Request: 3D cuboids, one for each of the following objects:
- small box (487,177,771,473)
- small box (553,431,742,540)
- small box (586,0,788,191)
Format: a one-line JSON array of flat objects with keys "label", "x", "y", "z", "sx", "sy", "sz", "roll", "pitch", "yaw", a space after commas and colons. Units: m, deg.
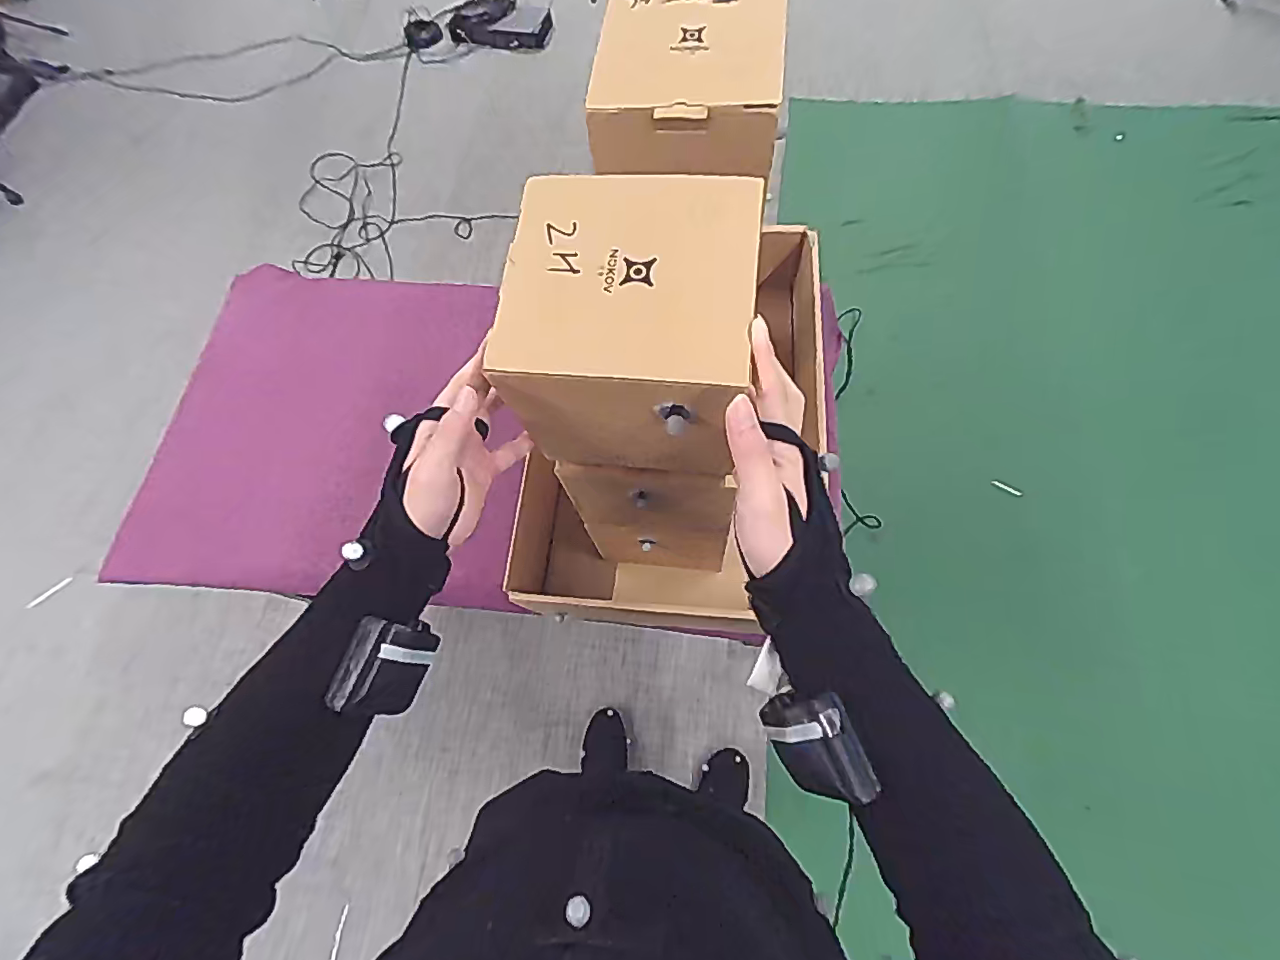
[{"label": "small box", "x": 0.003, "y": -0.112, "z": 0.441, "sx": 0.179, "sy": 0.176, "sz": 0.168, "roll": 5, "pitch": 72, "yaw": 8}, {"label": "small box", "x": 0.022, "y": -0.040, "z": 0.603, "sx": 0.179, "sy": 0.176, "sz": 0.168, "roll": 6, "pitch": 69, "yaw": 8}, {"label": "small box", "x": 0.052, "y": -0.349, "z": 0.552, "sx": 0.168, "sy": 0.176, "sz": 0.179, "roll": 6, "pitch": 70, "yaw": 6}]
